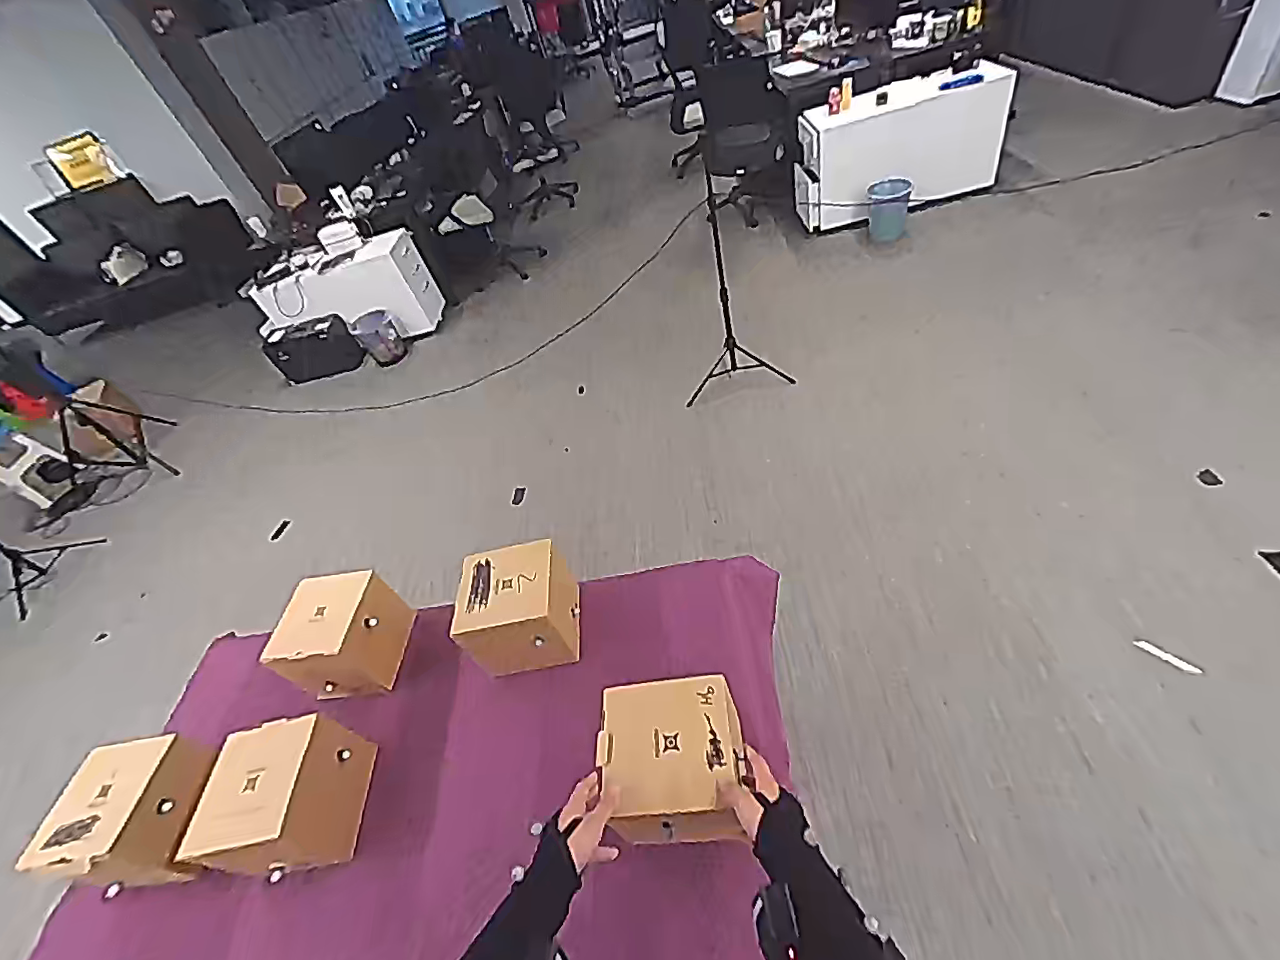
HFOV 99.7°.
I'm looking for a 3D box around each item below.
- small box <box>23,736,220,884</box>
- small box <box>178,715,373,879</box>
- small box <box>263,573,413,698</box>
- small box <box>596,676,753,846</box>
[{"bbox_3d":[-0.829,0.559,0.910,0.168,0.176,0.179,-12,43,7],"label":"small box"},{"bbox_3d":[-0.562,0.510,0.869,0.168,0.176,0.179,-15,44,6],"label":"small box"},{"bbox_3d":[-0.578,0.308,1.066,0.168,0.176,0.179,-9,46,10],"label":"small box"},{"bbox_3d":[0.051,0.399,0.759,0.179,0.176,0.168,-12,45,11],"label":"small box"}]
